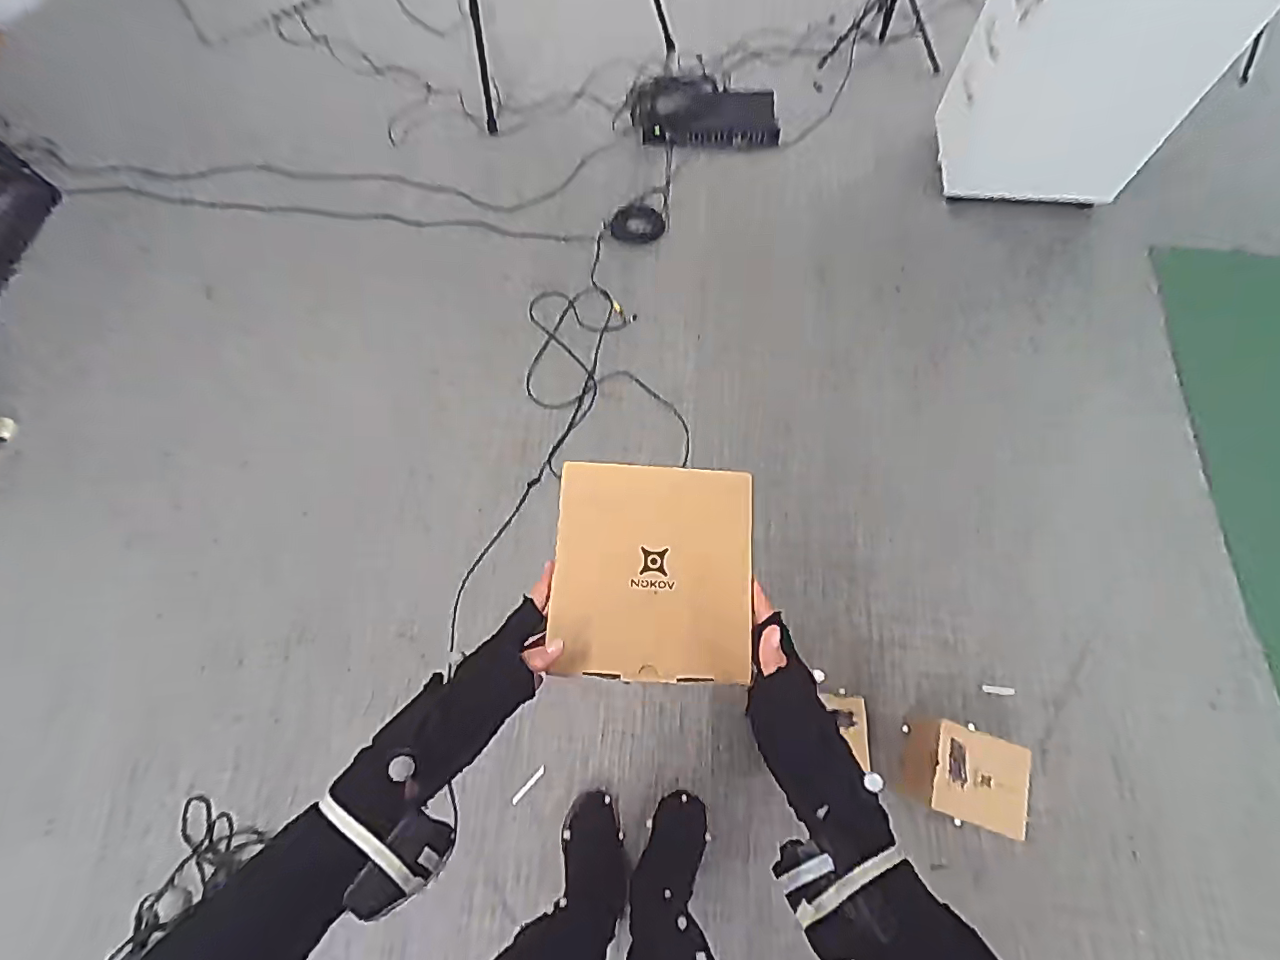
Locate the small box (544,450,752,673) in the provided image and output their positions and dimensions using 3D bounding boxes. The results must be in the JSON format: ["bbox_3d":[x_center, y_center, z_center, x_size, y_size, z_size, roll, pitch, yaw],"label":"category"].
[{"bbox_3d":[0.006,0.083,0.519,0.168,0.176,0.179,3,75,-2],"label":"small box"}]

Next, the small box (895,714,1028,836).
[{"bbox_3d":[0.655,0.598,1.117,0.179,0.176,0.168,17,70,8],"label":"small box"}]
